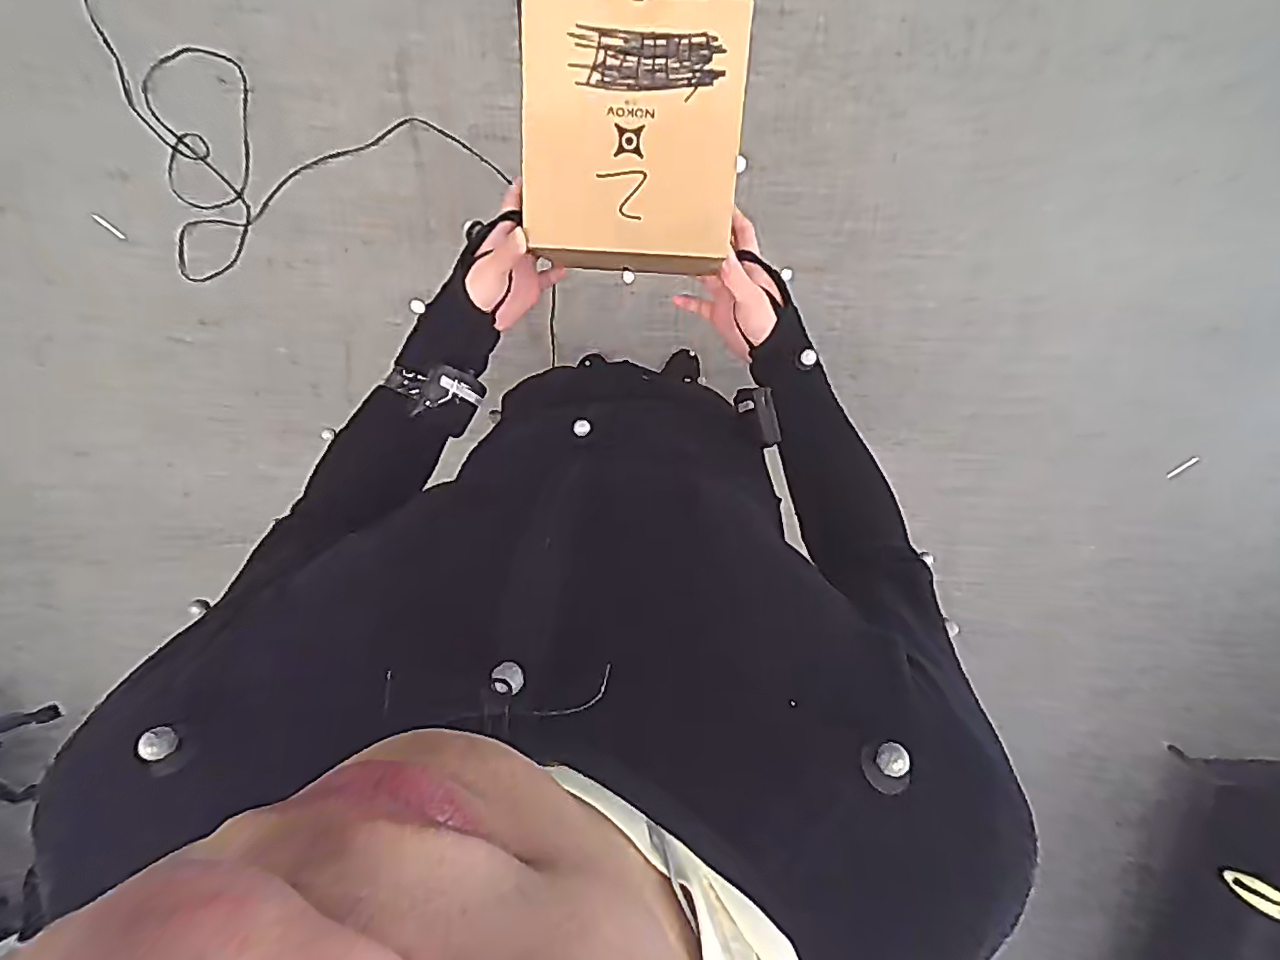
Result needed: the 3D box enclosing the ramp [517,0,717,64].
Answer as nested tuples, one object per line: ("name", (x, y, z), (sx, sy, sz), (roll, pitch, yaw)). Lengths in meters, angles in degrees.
("ramp", (-0.060, -1.509, 1.159), (0.509, 0.206, 0.991), (-2, 105, 1))
